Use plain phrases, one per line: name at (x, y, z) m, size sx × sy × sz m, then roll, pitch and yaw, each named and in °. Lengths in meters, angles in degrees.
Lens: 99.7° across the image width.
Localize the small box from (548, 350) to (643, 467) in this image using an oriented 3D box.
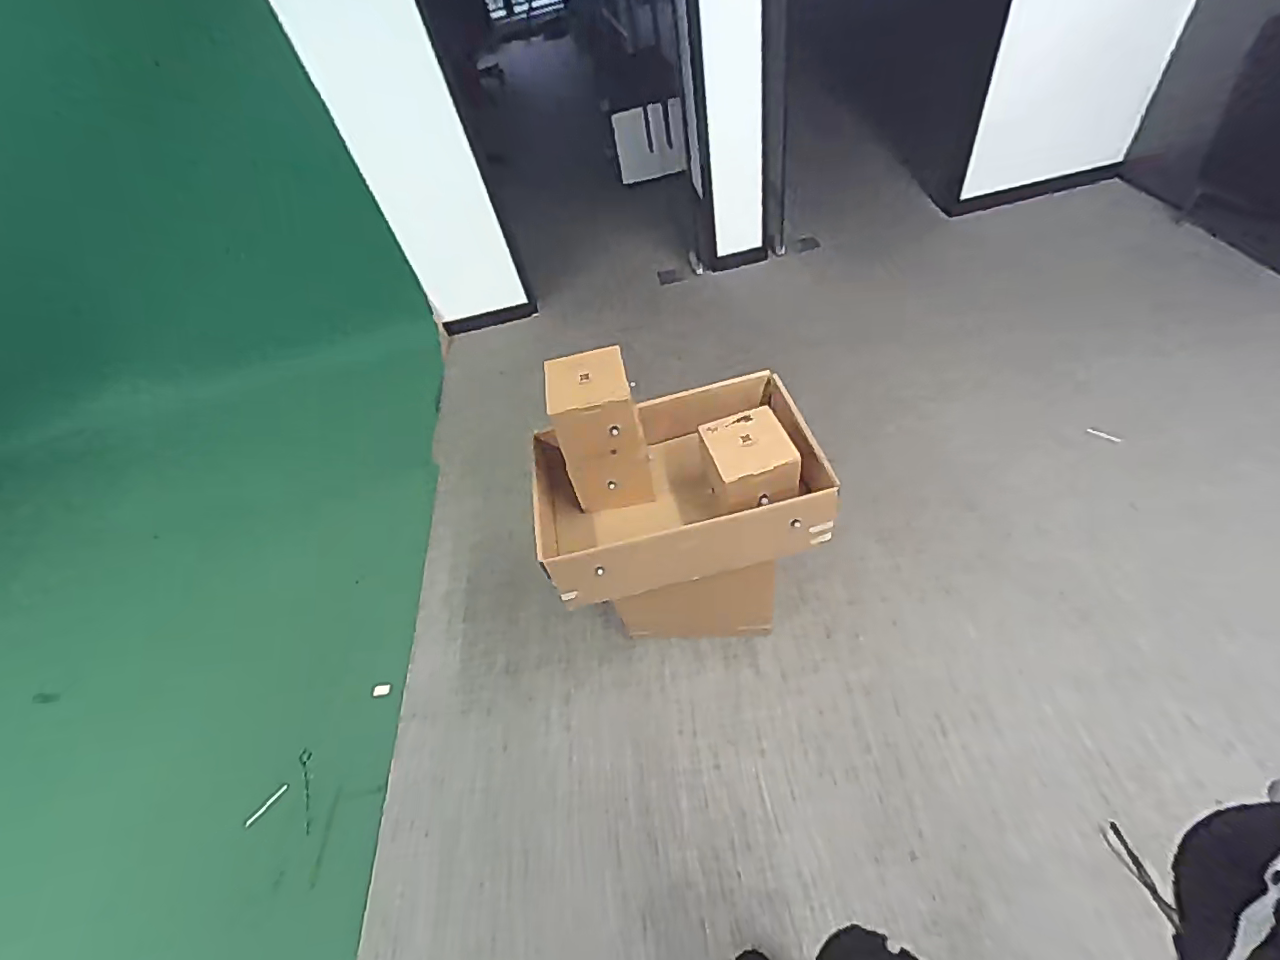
small box at (-0.094, -0.145, 1.157) m, size 0.168 × 0.176 × 0.179 m, roll -12°, pitch 48°, yaw 2°
